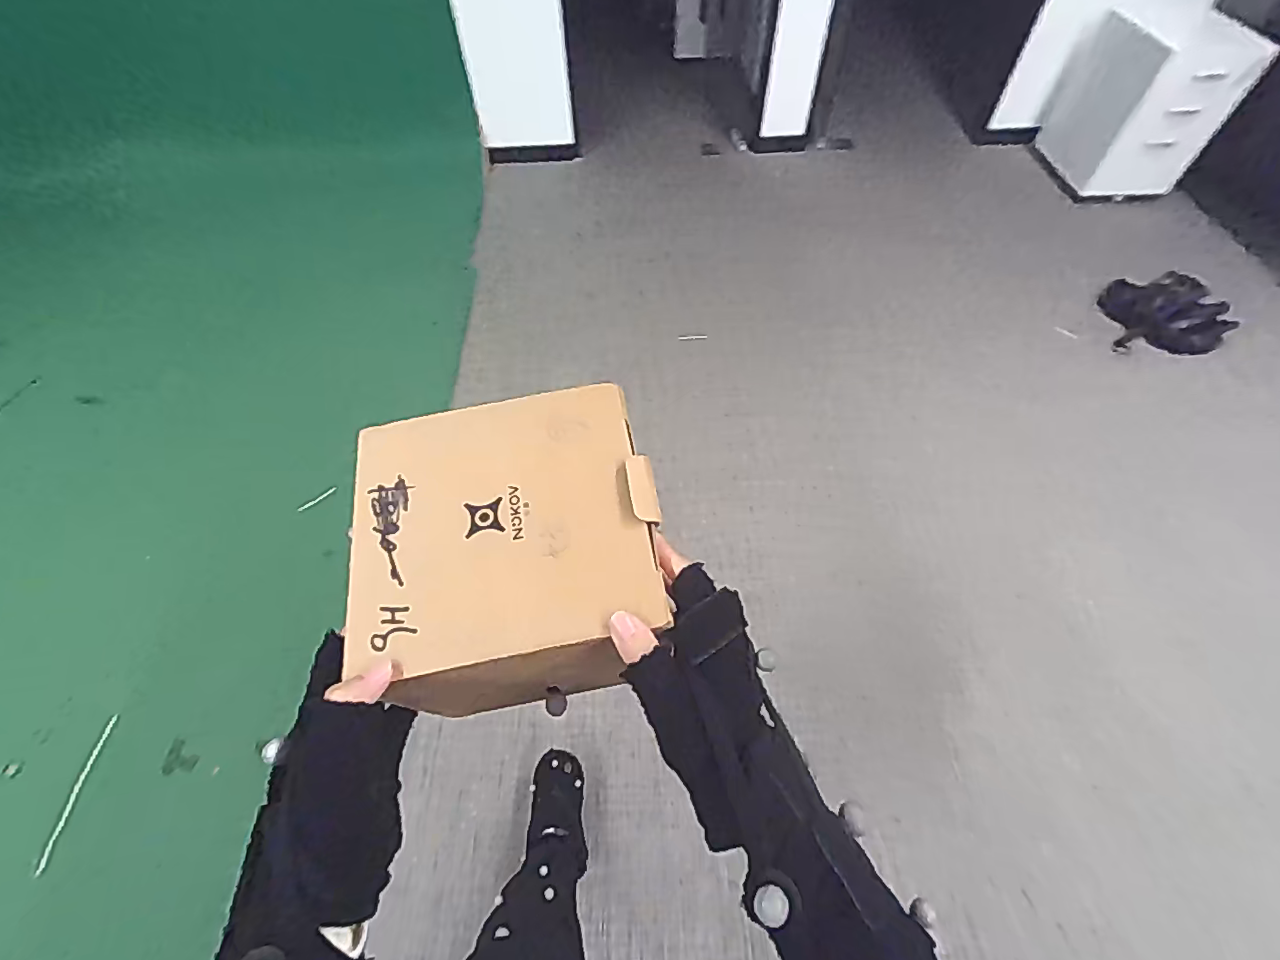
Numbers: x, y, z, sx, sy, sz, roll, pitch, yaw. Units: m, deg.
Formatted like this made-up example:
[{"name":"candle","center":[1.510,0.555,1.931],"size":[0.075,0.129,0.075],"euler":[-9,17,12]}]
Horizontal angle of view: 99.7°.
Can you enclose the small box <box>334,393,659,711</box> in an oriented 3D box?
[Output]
[{"name":"small box","center":[-0.084,0.062,0.395],"size":[0.179,0.176,0.168],"euler":[-9,61,-2]}]
